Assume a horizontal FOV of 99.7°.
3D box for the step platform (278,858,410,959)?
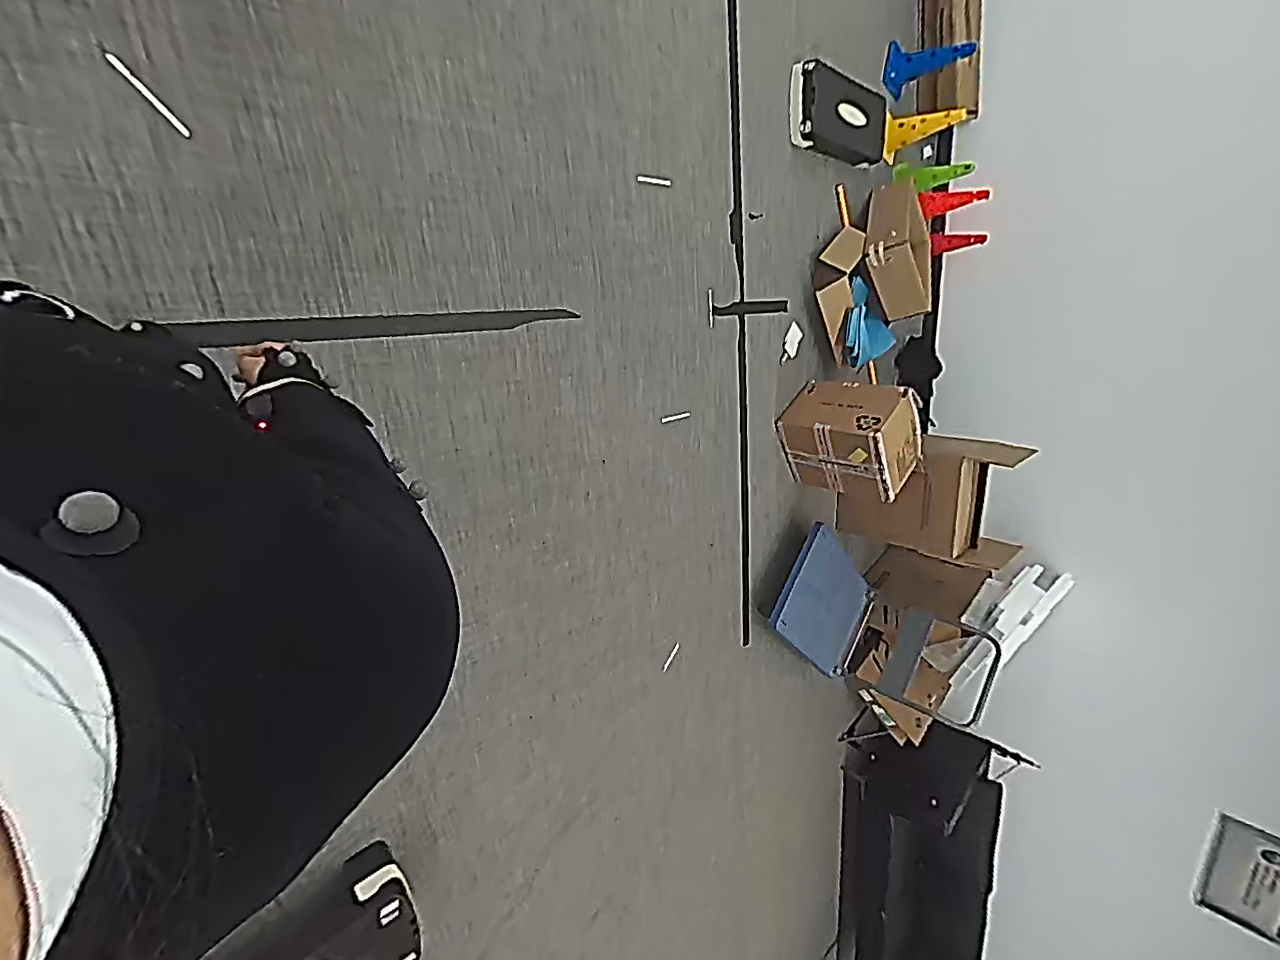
[{"bbox_3d":[-0.913,1.266,1.273,0.684,0.204,0.286,-20,113,-41],"label":"step platform"}]
